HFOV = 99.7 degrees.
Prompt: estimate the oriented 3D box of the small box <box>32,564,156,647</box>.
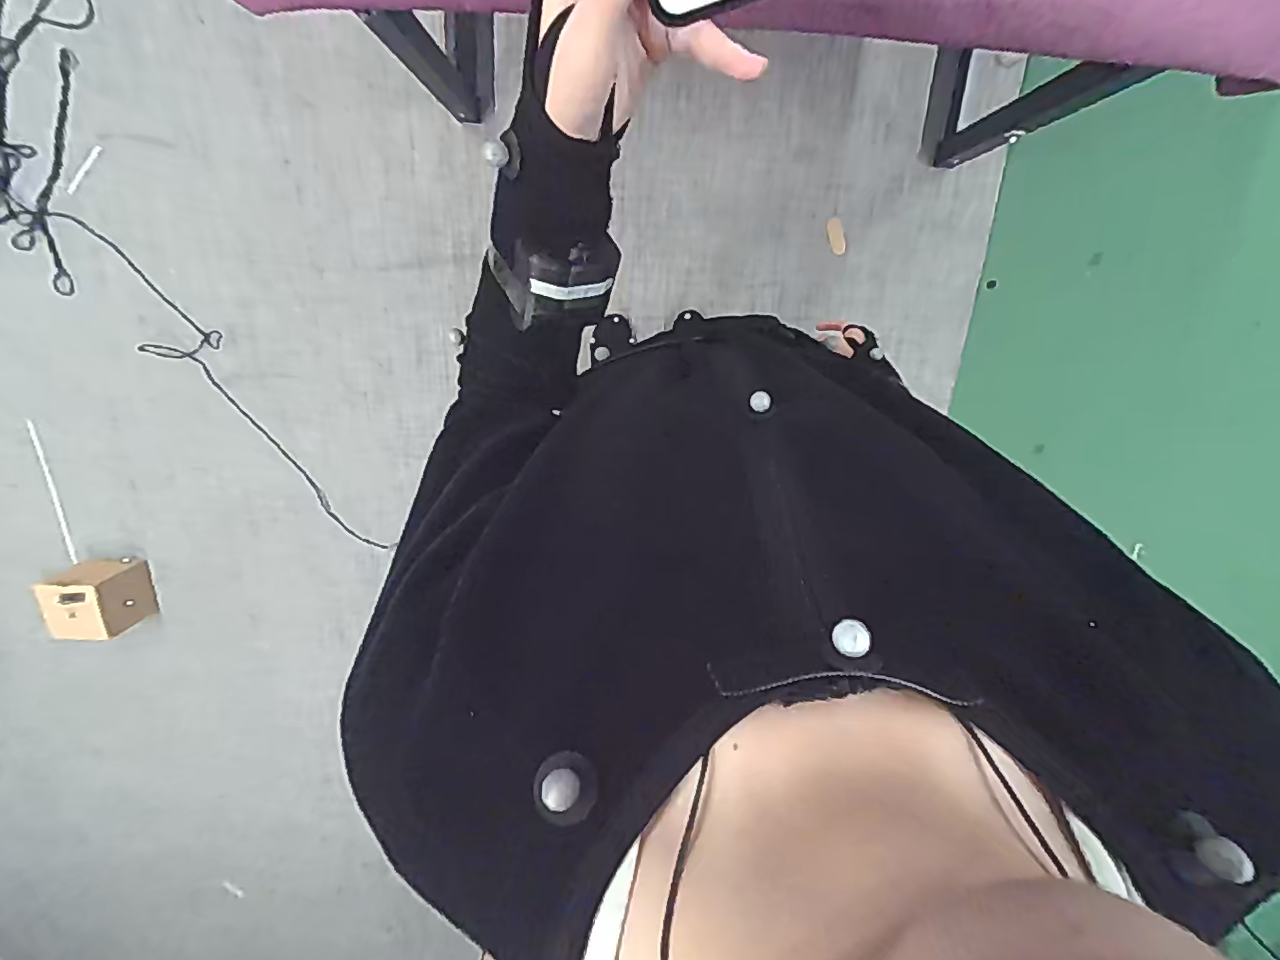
[{"bbox_3d":[-1.546,0.353,1.544,0.168,0.176,0.179,2,108,0],"label":"small box"}]
